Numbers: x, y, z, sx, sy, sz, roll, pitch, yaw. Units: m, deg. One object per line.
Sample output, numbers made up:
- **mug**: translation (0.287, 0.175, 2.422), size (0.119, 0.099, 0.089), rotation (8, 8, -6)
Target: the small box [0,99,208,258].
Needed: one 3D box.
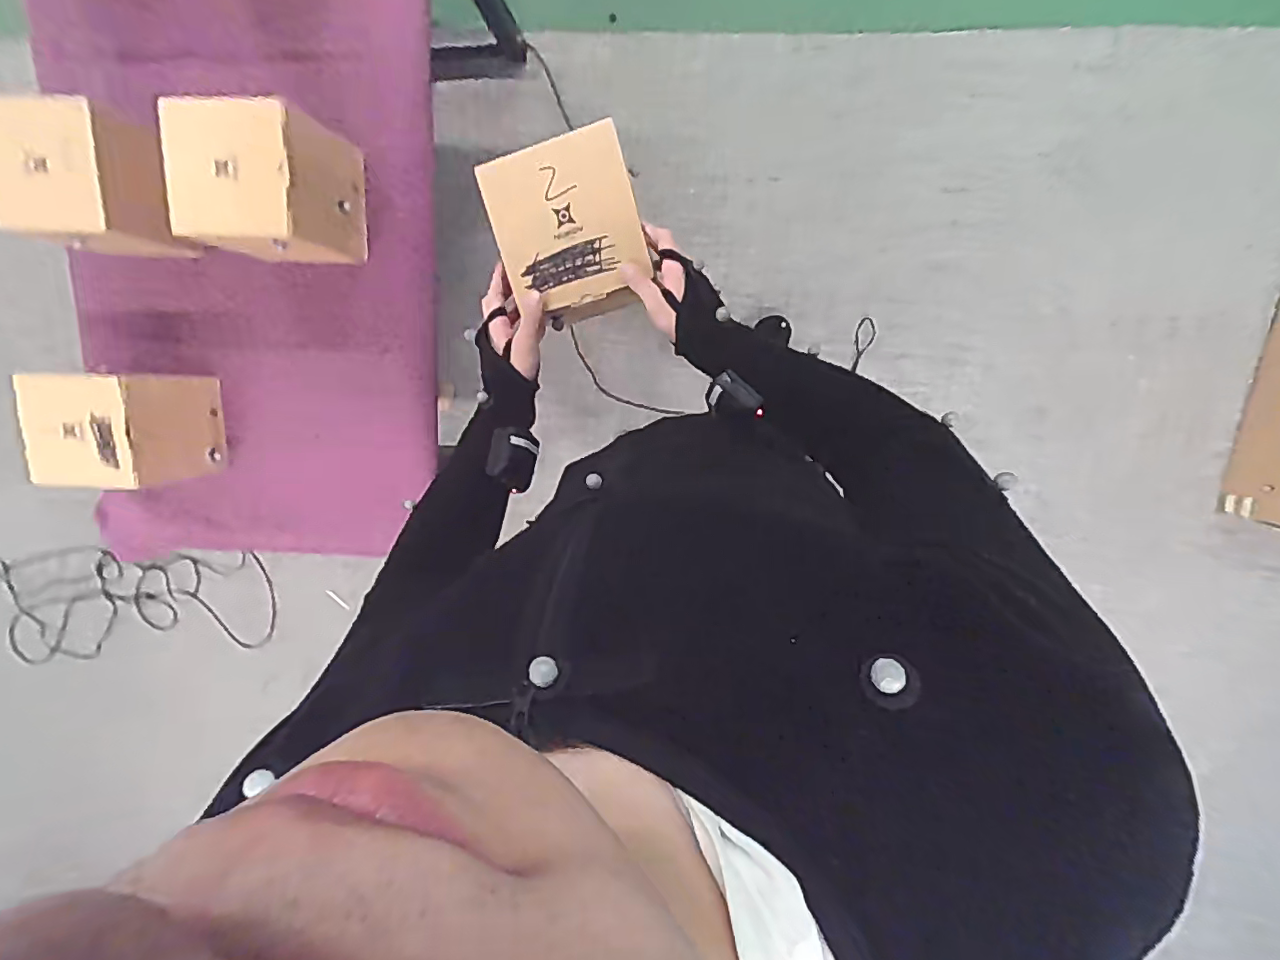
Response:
- **small box**: translation (-0.801, -0.437, 0.808), size (0.179, 0.176, 0.168), rotation (4, 101, 4)

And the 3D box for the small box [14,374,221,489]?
- **small box**: translation (-0.819, -0.085, 0.871), size (0.179, 0.176, 0.168), rotation (3, 100, 5)
